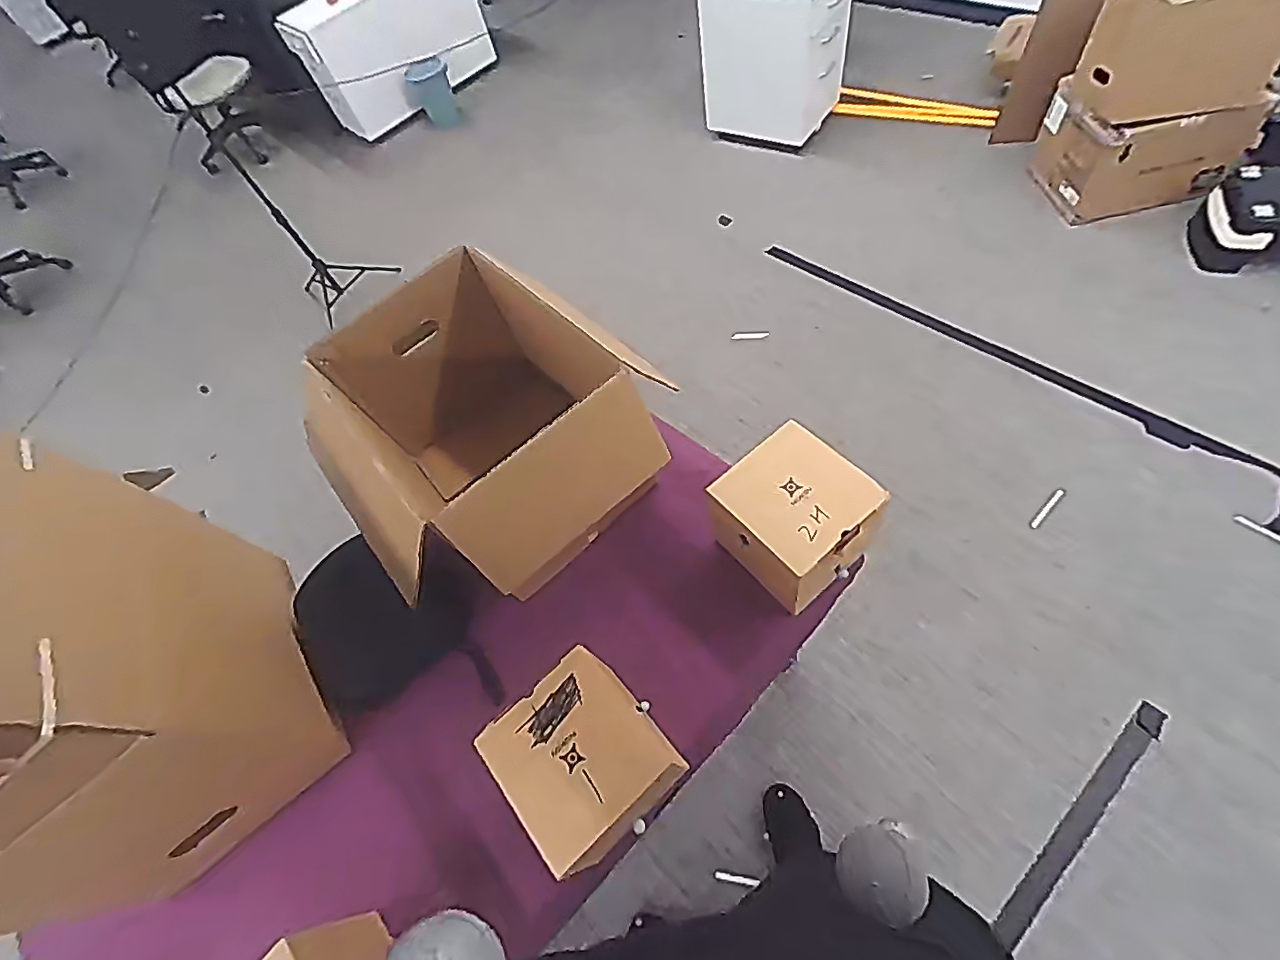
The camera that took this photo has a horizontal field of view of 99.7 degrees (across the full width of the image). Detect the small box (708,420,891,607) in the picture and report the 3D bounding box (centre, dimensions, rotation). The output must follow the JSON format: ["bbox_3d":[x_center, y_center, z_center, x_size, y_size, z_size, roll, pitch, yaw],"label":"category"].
[{"bbox_3d":[0.220,0.054,0.779,0.168,0.176,0.179,-39,60,-9],"label":"small box"}]

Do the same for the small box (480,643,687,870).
[{"bbox_3d":[-0.062,0.341,0.679,0.168,0.176,0.179,-41,61,-11],"label":"small box"}]
